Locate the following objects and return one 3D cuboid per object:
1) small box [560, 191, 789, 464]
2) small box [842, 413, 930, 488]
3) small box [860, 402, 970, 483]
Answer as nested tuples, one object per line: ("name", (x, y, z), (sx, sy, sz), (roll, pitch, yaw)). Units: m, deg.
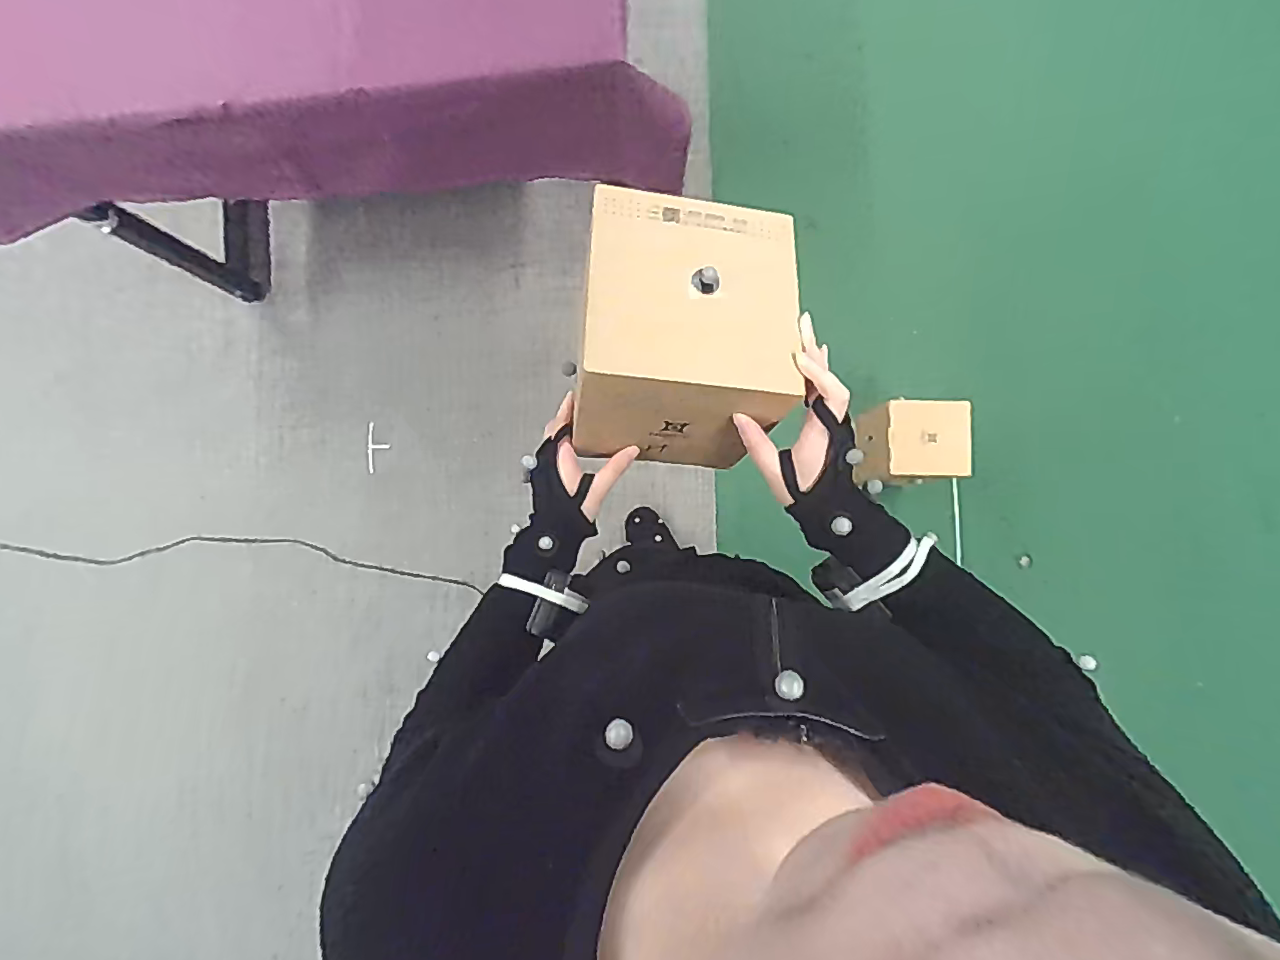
("small box", (0.016, -0.124, 0.489), (0.168, 0.179, 0.176), (4, 72, -9))
("small box", (0.638, -0.072, 1.413), (0.168, 0.176, 0.179), (1, 85, 2))
("small box", (0.628, -0.081, 1.250), (0.179, 0.176, 0.168), (1, 86, 3))
